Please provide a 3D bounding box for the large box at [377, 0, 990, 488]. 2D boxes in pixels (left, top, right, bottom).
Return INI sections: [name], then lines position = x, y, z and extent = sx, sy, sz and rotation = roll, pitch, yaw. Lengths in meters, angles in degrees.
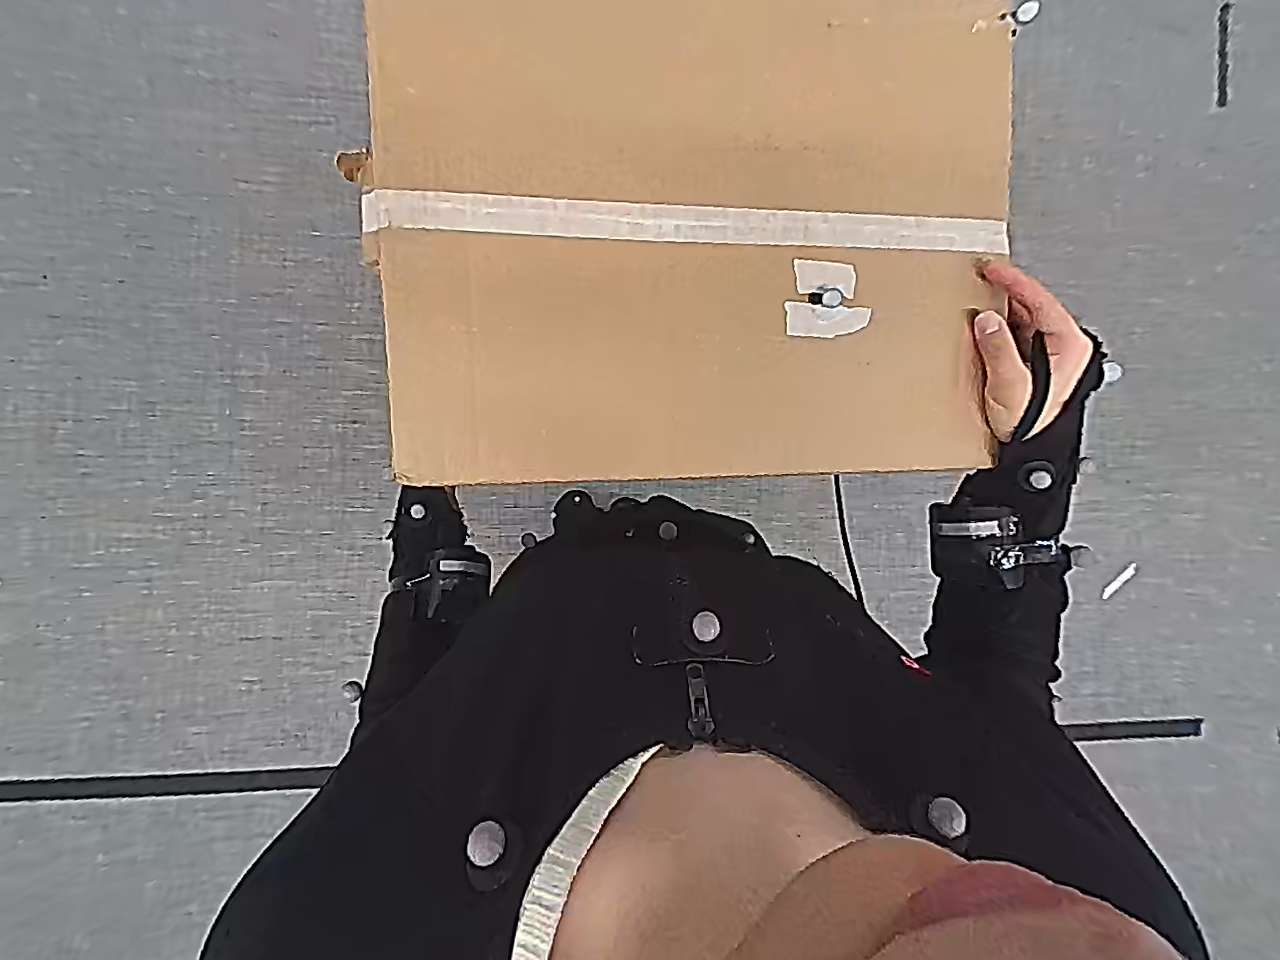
[large box]
position = 0.021, -0.169, 0.496
extent = 0.408, 0.320, 0.320
rotation = -2, 95, -11
